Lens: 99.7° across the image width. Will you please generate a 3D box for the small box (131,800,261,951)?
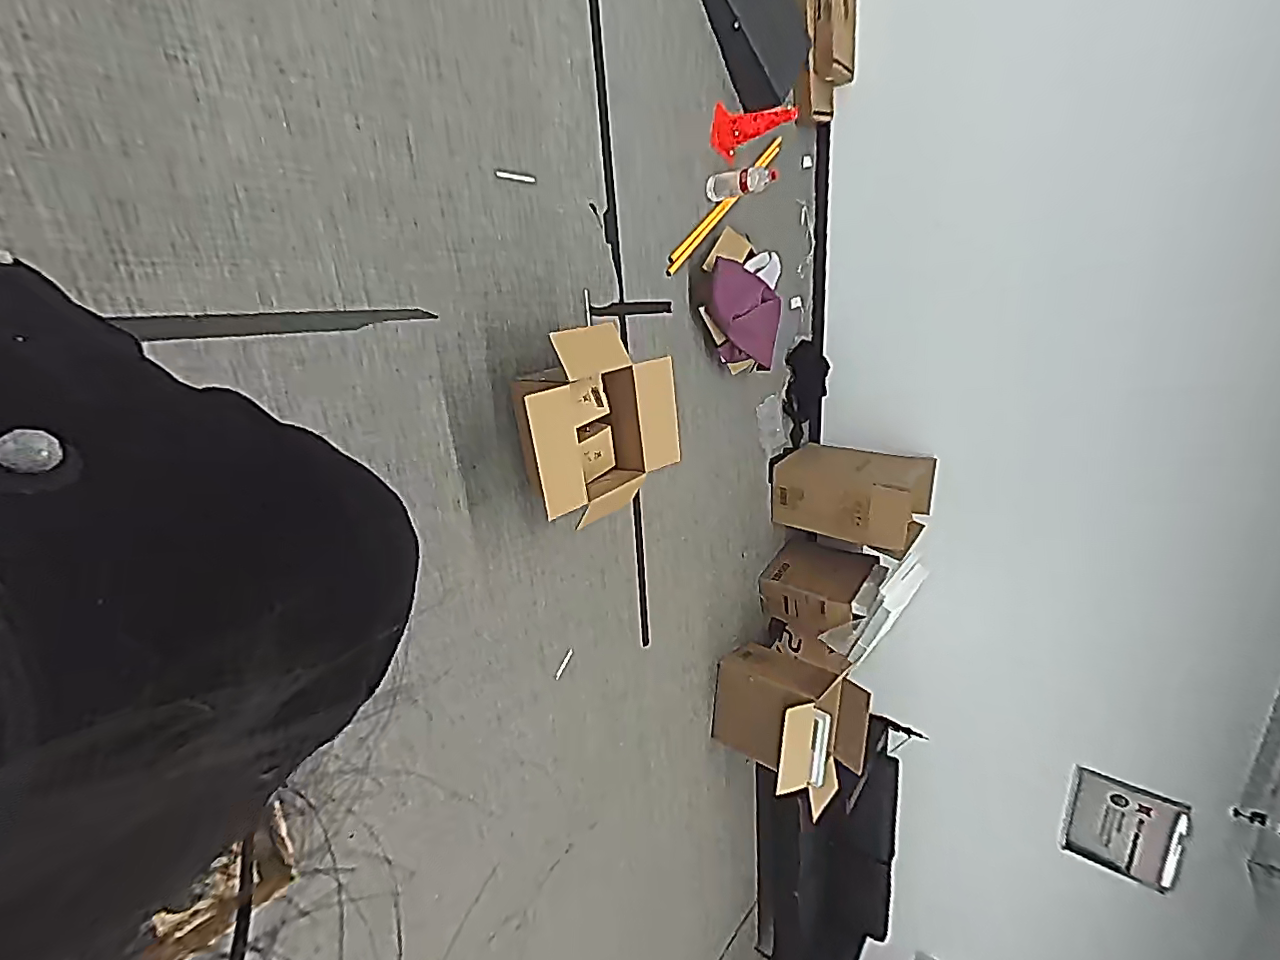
[{"bbox_3d":[-0.991,0.868,1.209,0.179,0.176,0.168,-21,111,-45],"label":"small box"}]
